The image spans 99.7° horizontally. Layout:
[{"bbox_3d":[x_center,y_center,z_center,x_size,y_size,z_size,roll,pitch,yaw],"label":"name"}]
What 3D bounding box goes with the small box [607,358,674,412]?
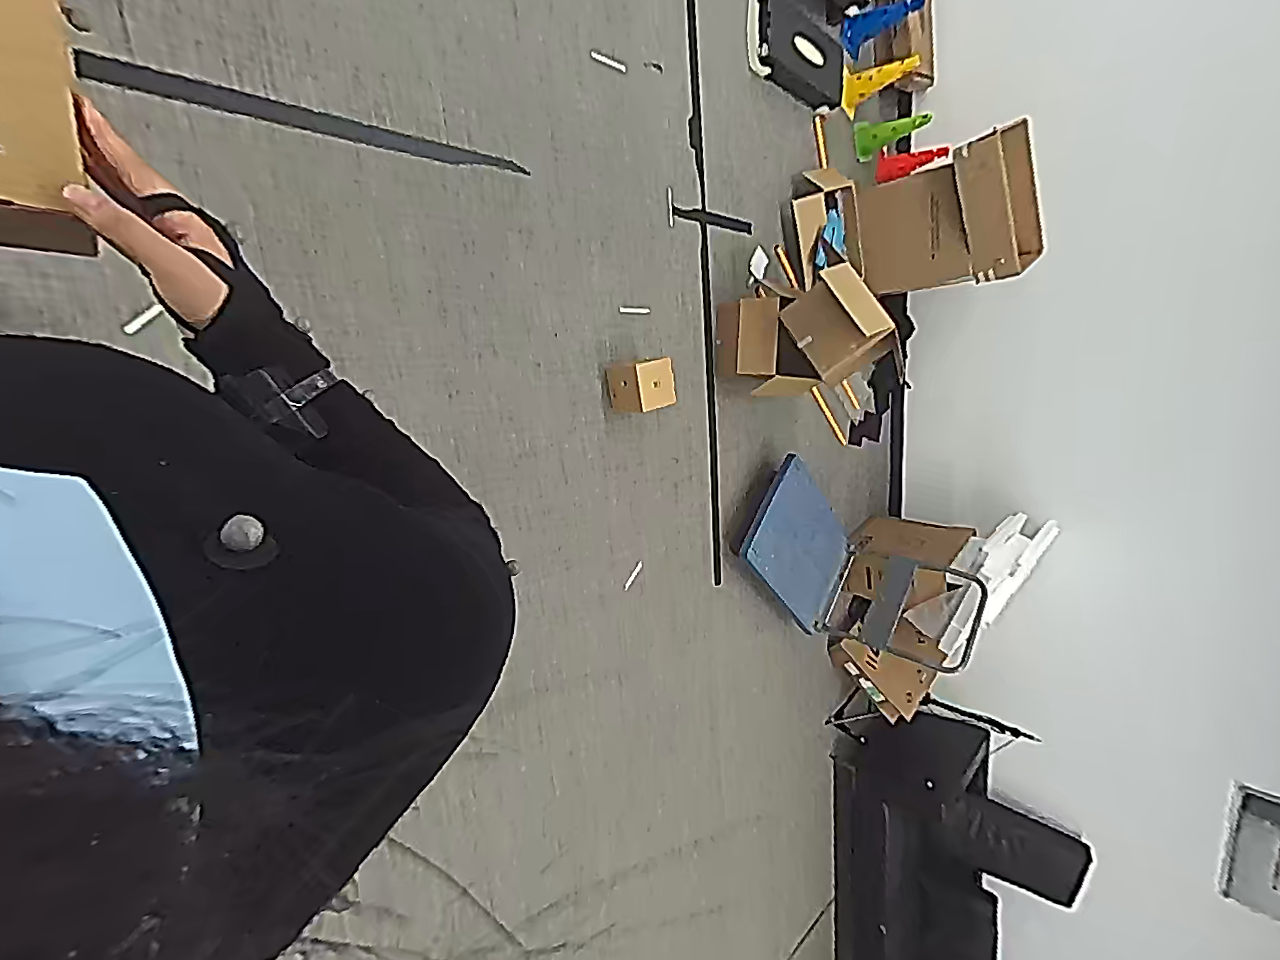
[{"bbox_3d":[-0.005,-0.339,1.947,0.179,0.176,0.168,-23,111,-40],"label":"small box"}]
